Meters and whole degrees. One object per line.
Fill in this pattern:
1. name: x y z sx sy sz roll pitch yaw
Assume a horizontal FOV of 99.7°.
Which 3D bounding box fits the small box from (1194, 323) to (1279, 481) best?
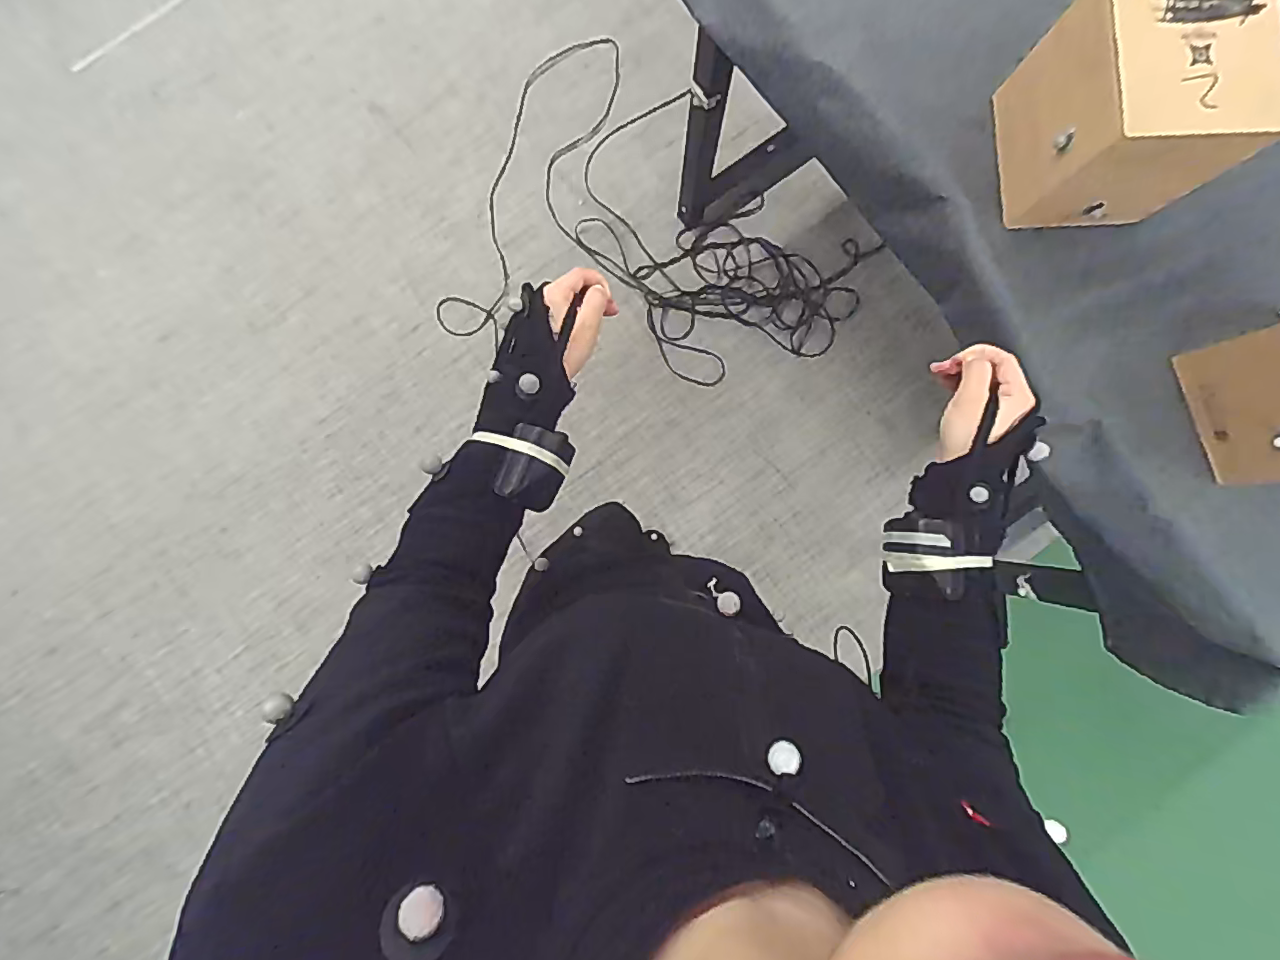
1. small box: 0.750 -0.102 0.567 0.179 0.176 0.168 -17 87 -2
